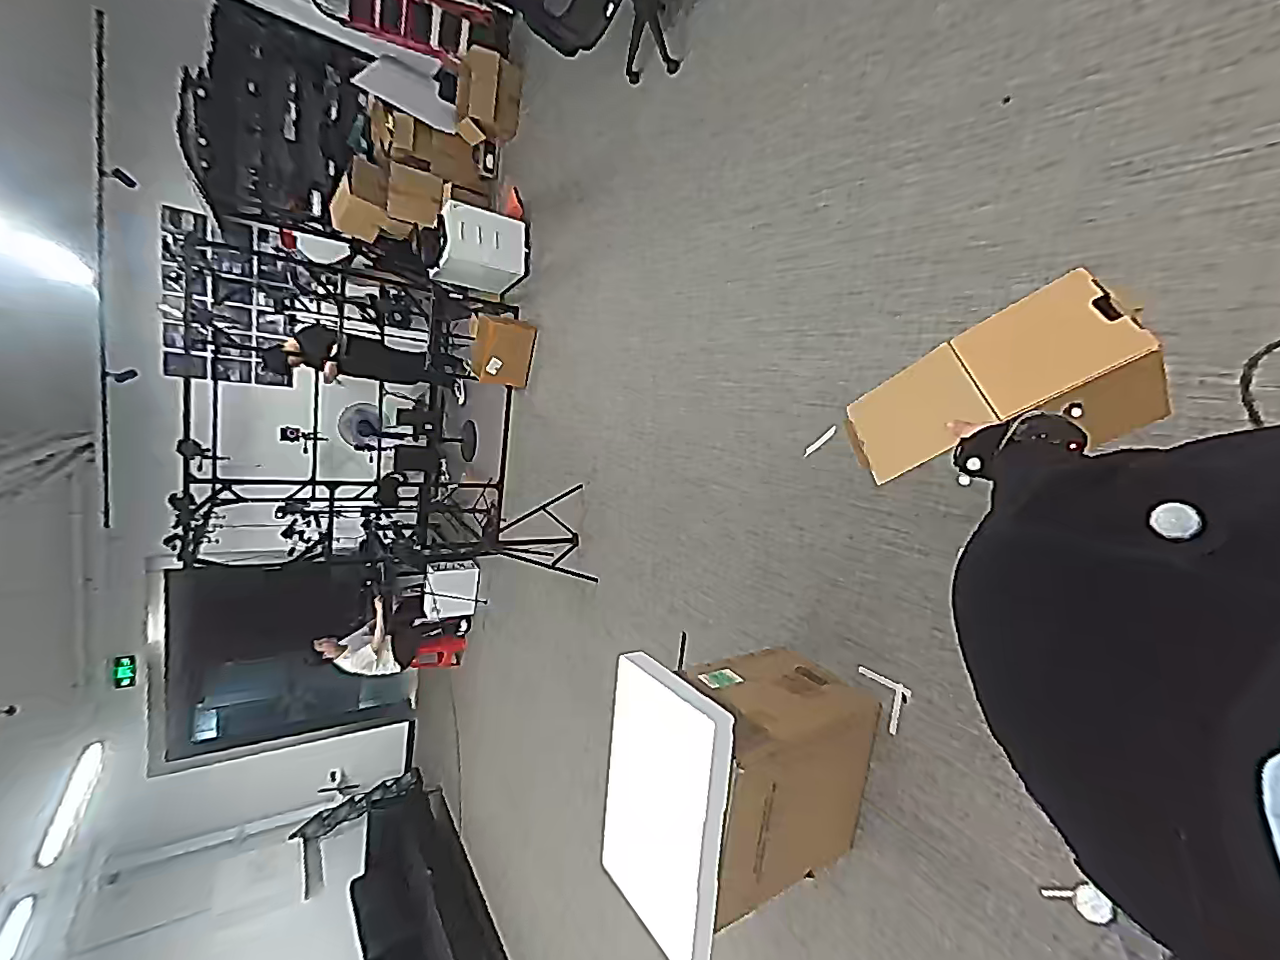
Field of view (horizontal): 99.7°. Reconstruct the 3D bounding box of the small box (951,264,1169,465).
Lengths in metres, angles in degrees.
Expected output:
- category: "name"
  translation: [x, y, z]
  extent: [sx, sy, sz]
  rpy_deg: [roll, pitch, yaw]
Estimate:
- category: "small box"
  translation: [0.577, -0.148, 0.749]
  extent: [0.179, 0.176, 0.168]
  rpy_deg: [-32, 46, 30]
